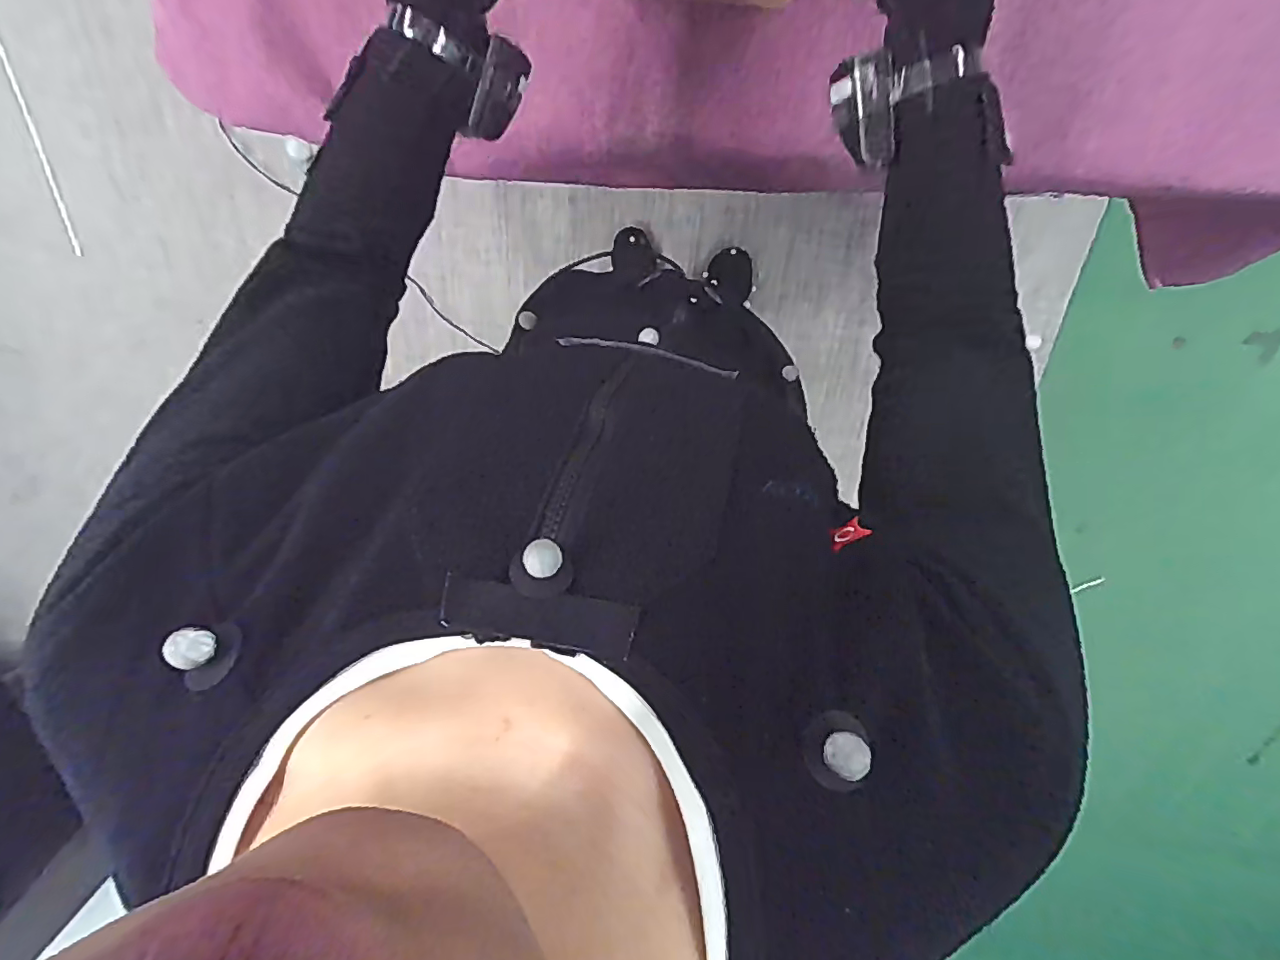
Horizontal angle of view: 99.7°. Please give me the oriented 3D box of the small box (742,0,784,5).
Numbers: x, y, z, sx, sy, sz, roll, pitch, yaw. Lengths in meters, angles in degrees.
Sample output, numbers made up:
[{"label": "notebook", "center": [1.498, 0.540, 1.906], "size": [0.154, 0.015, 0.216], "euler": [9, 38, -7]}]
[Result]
[{"label": "small box", "center": [0.064, -0.502, 0.410], "size": [0.168, 0.176, 0.179], "euler": [8, 116, 2]}]
